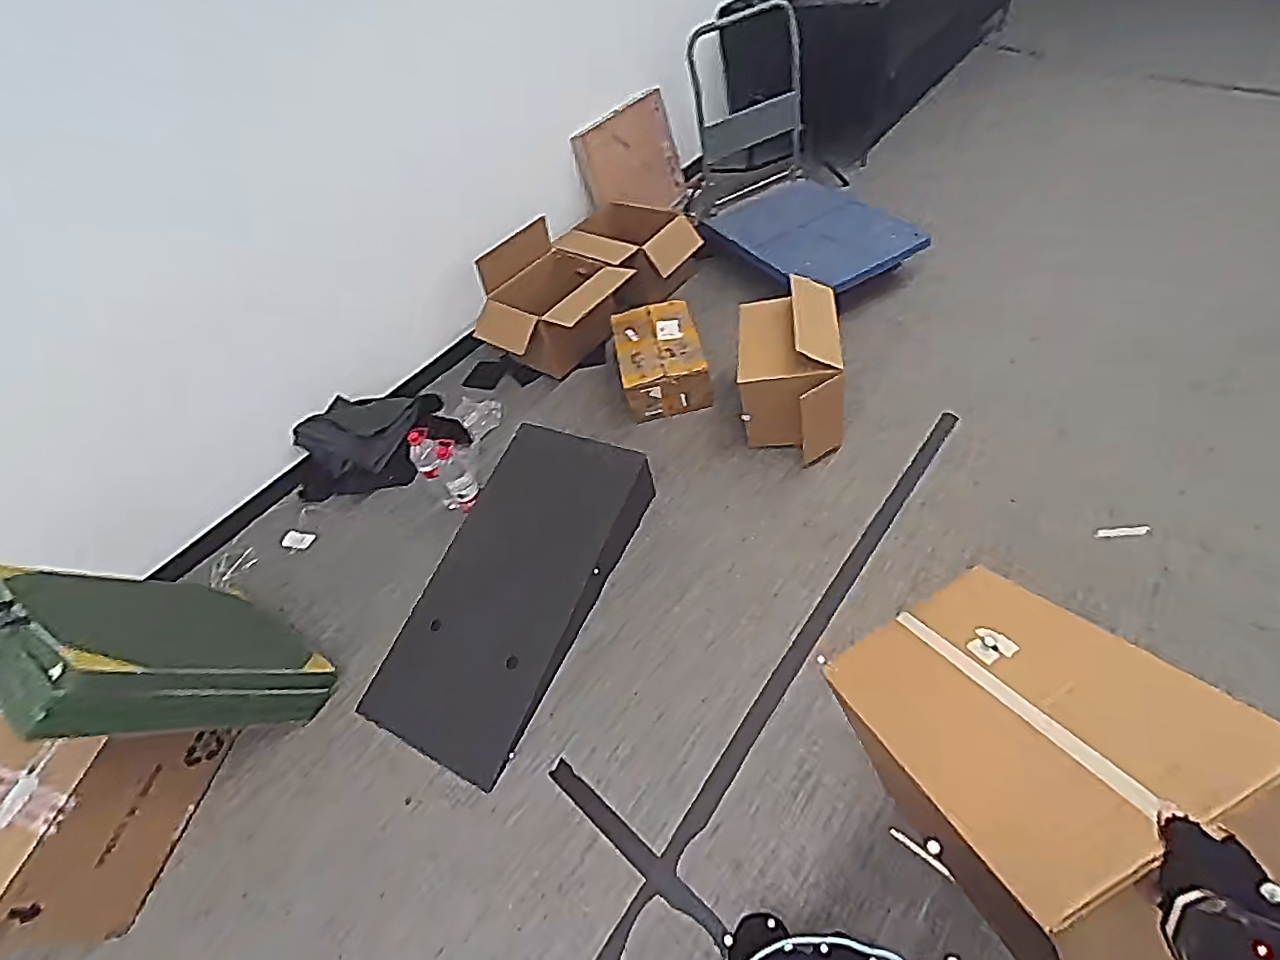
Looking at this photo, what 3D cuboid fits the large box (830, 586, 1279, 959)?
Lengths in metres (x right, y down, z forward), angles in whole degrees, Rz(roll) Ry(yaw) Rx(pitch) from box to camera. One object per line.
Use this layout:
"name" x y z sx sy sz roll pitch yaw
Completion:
"large box" 0.545 0.418 0.734 0.320 0.320 0.408 -30 18 -3
